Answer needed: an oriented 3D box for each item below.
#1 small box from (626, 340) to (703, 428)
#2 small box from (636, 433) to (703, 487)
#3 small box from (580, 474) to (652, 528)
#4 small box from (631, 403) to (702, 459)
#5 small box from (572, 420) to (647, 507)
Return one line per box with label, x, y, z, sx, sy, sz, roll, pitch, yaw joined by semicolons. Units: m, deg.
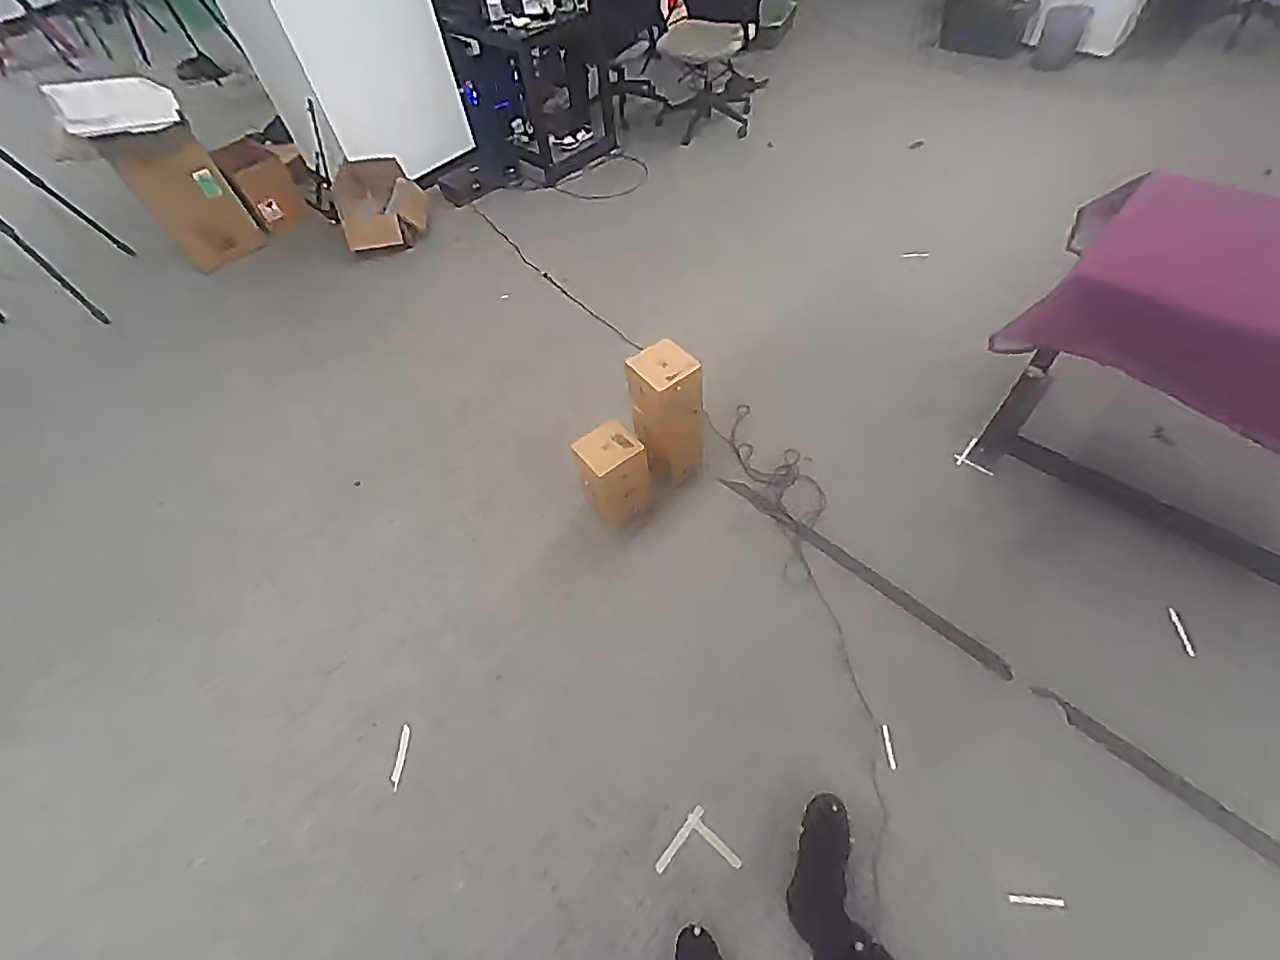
small box;0.078;-0.292;1.667;0.168;0.176;0.179;-34;57;-16
small box;0.109;-0.107;1.934;0.179;0.176;0.168;37;67;27
small box;-0.078;0.032;1.854;0.168;0.176;0.179;-38;59;-18
small box;0.094;-0.200;1.802;0.179;0.176;0.168;-40;60;-20
small box;-0.089;-0.051;1.712;0.179;0.176;0.168;-34;58;-16
